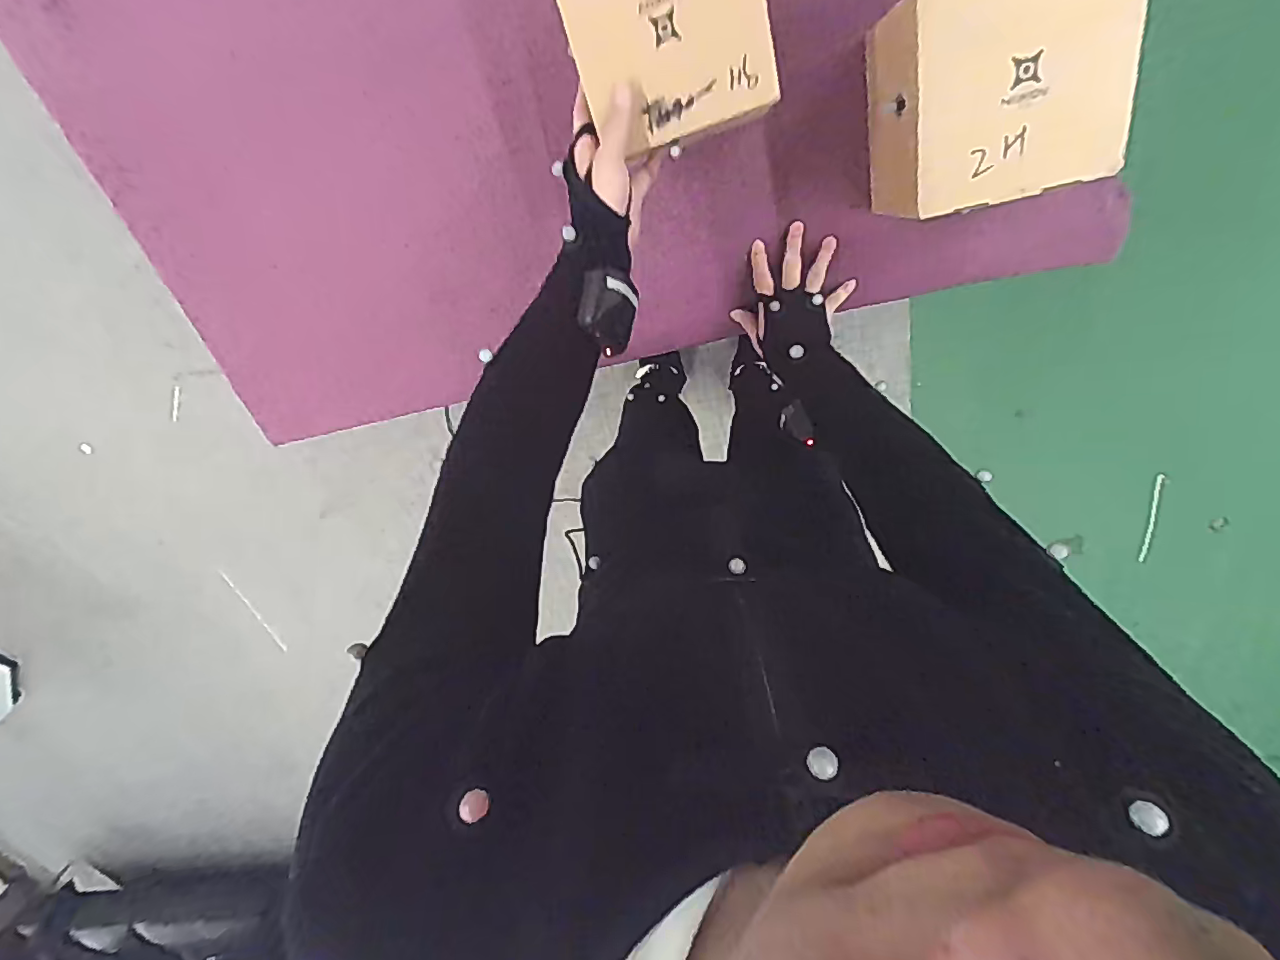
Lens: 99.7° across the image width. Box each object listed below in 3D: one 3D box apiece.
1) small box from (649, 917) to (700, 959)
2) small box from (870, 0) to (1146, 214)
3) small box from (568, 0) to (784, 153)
[{"bbox_3d":[0.123,1.660,1.876,0.168,0.176,0.179,-3,118,8],"label":"small box"},{"bbox_3d":[0.324,-0.368,0.515,0.168,0.176,0.179,-8,117,13],"label":"small box"},{"bbox_3d":[0.031,-0.436,0.515,0.168,0.176,0.179,-12,117,13],"label":"small box"}]
